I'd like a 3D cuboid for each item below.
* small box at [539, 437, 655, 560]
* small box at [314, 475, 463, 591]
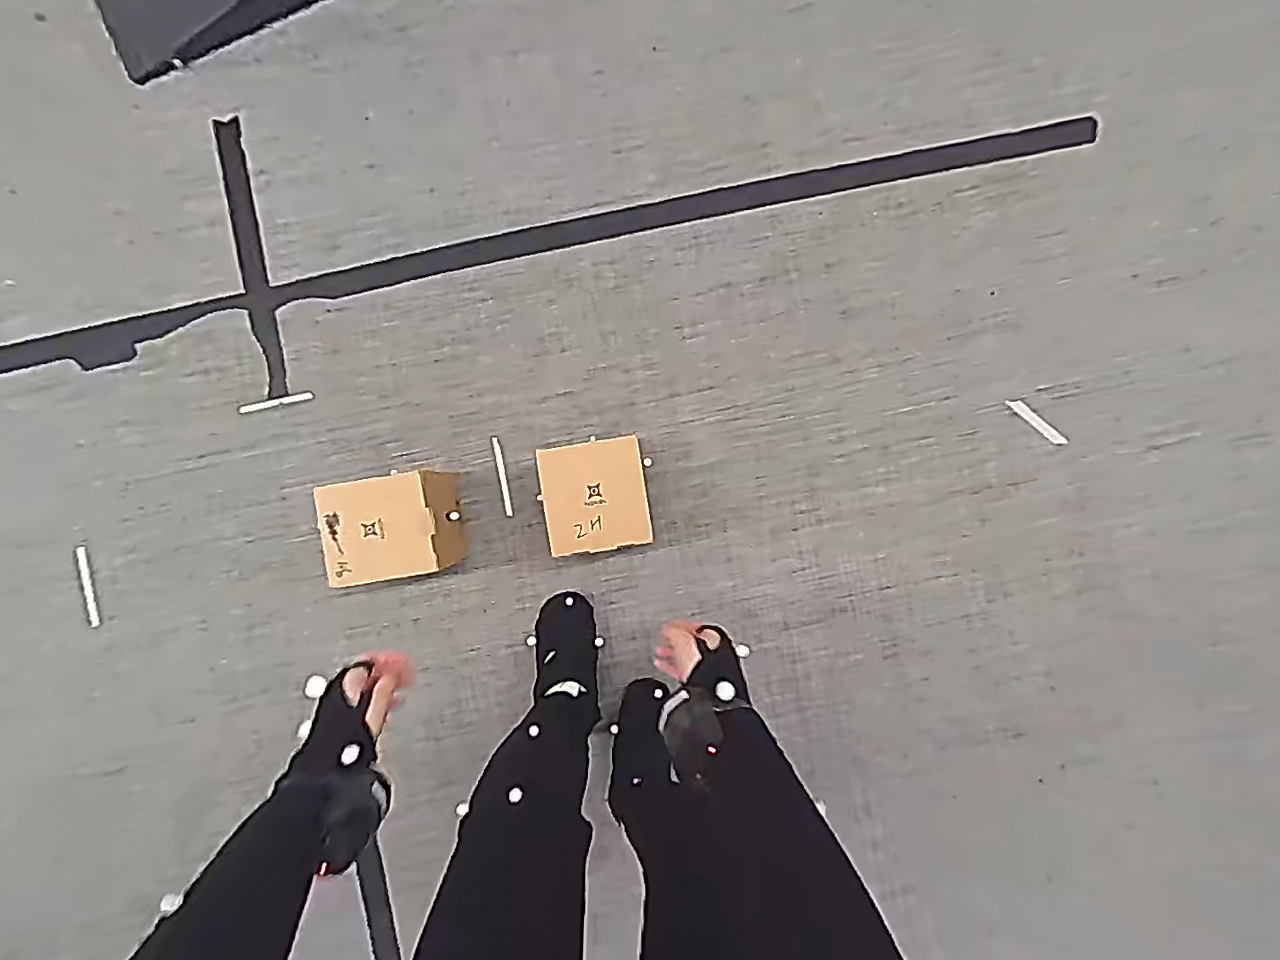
[{"bbox_3d":[-0.069,0.030,0.926,0.168,0.176,0.179,-8,91,0],"label":"small box"},{"bbox_3d":[-0.413,0.081,0.924,0.179,0.176,0.168,-8,90,-1],"label":"small box"}]
